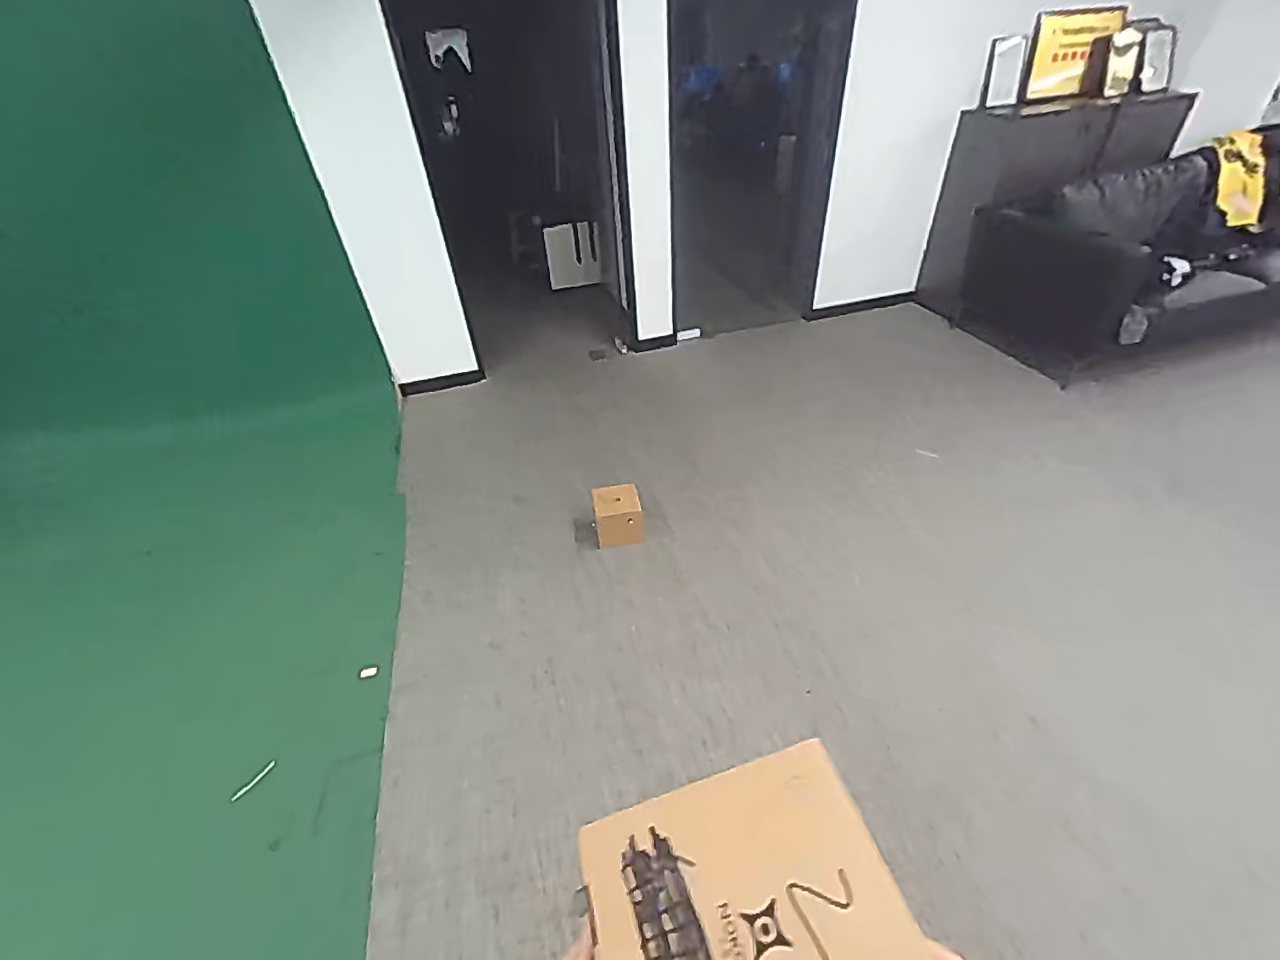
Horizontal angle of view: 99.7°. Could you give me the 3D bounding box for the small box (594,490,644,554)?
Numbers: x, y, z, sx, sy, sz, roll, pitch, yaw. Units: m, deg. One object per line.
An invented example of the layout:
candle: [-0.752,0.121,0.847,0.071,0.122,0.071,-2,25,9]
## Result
small box: [-0.080,0.165,2.108,0.179,0.176,0.168,-9,39,-6]
